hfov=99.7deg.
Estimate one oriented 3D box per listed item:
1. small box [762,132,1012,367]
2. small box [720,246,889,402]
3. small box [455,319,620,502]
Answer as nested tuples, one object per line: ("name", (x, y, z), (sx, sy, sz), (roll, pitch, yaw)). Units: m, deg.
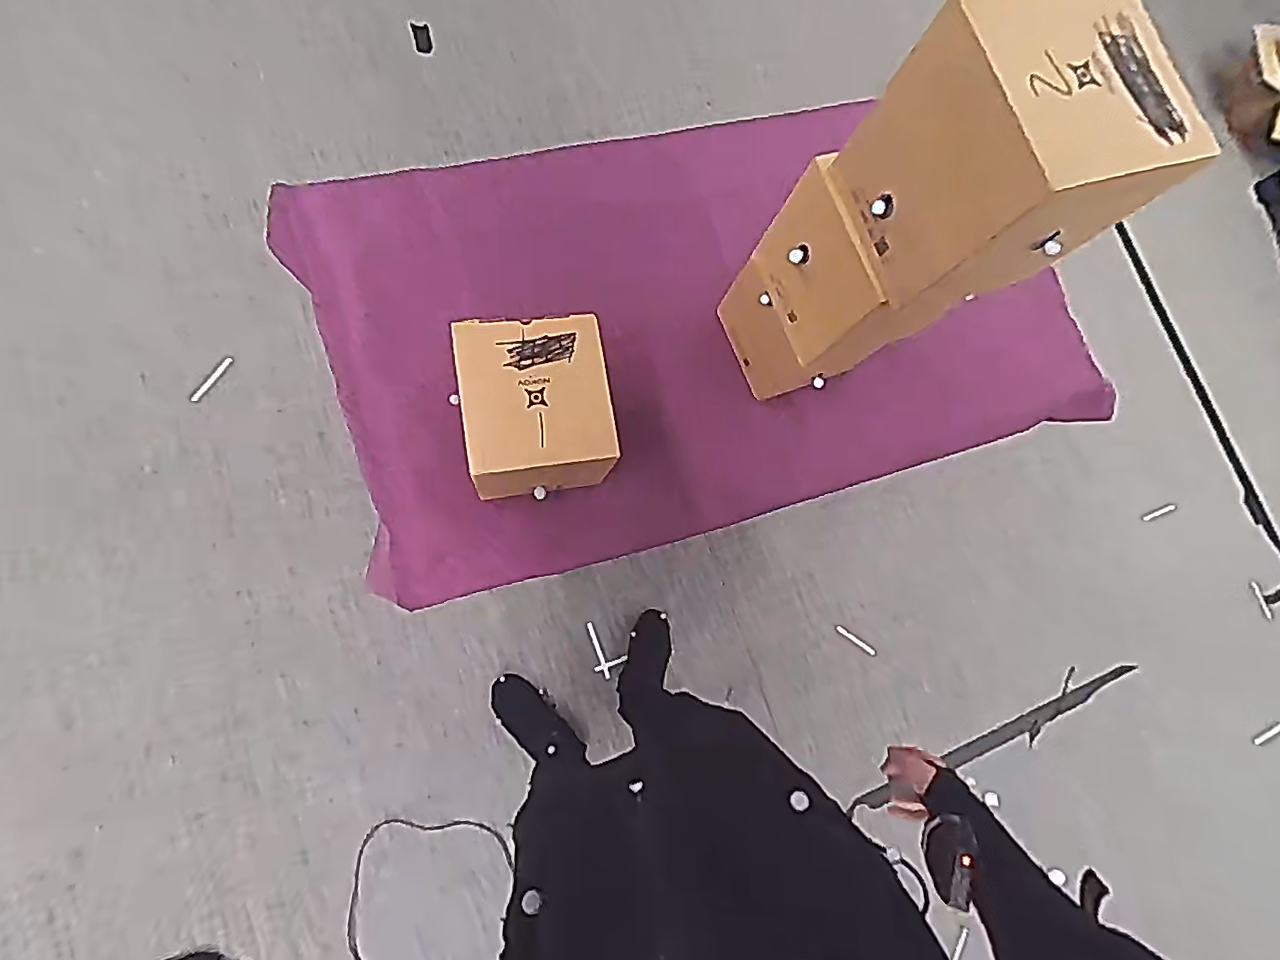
("small box", (0.261, -0.251, 0.620), (0.179, 0.176, 0.168), (-20, 83, -15))
("small box", (0.243, -0.234, 0.783), (0.179, 0.176, 0.168), (-20, 82, -15))
("small box", (-0.131, -0.079, 0.675), (0.168, 0.176, 0.179), (-8, 81, -13))
